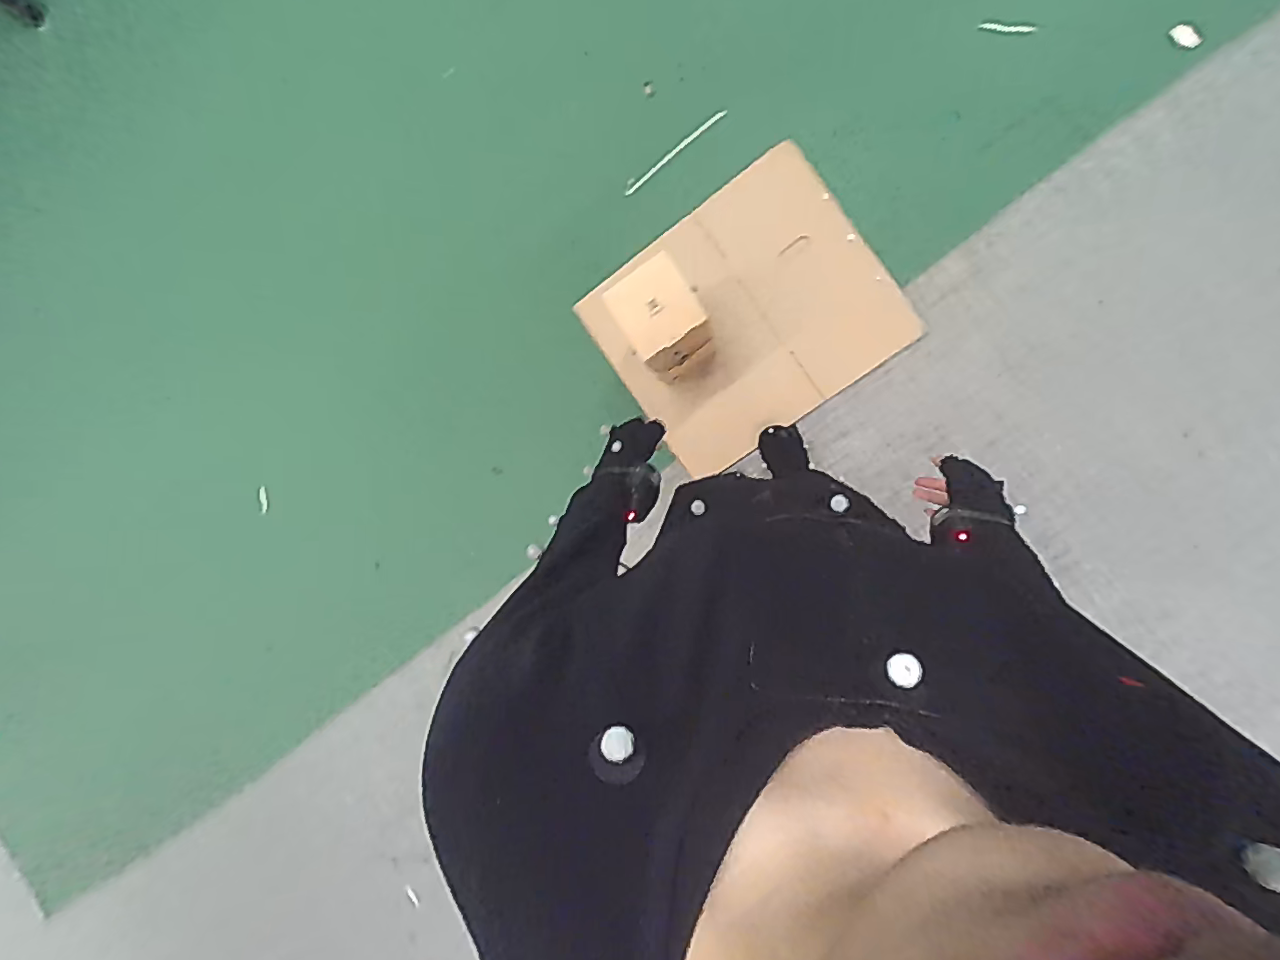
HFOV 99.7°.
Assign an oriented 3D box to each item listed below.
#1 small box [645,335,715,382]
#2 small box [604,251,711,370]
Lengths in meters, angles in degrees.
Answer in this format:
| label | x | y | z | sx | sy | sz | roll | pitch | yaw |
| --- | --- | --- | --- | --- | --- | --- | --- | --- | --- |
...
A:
| label | x | y | z | sx | sy | sz | roll | pitch | yaw |
| --- | --- | --- | --- | --- | --- | --- | --- | --- | --- |
| small box | 0.077 | -0.363 | 1.365 | 0.168 | 0.176 | 0.179 | -34 | 87 | 11 |
| small box | 0.045 | -0.365 | 1.205 | 0.168 | 0.176 | 0.179 | -33 | 88 | 10 |
